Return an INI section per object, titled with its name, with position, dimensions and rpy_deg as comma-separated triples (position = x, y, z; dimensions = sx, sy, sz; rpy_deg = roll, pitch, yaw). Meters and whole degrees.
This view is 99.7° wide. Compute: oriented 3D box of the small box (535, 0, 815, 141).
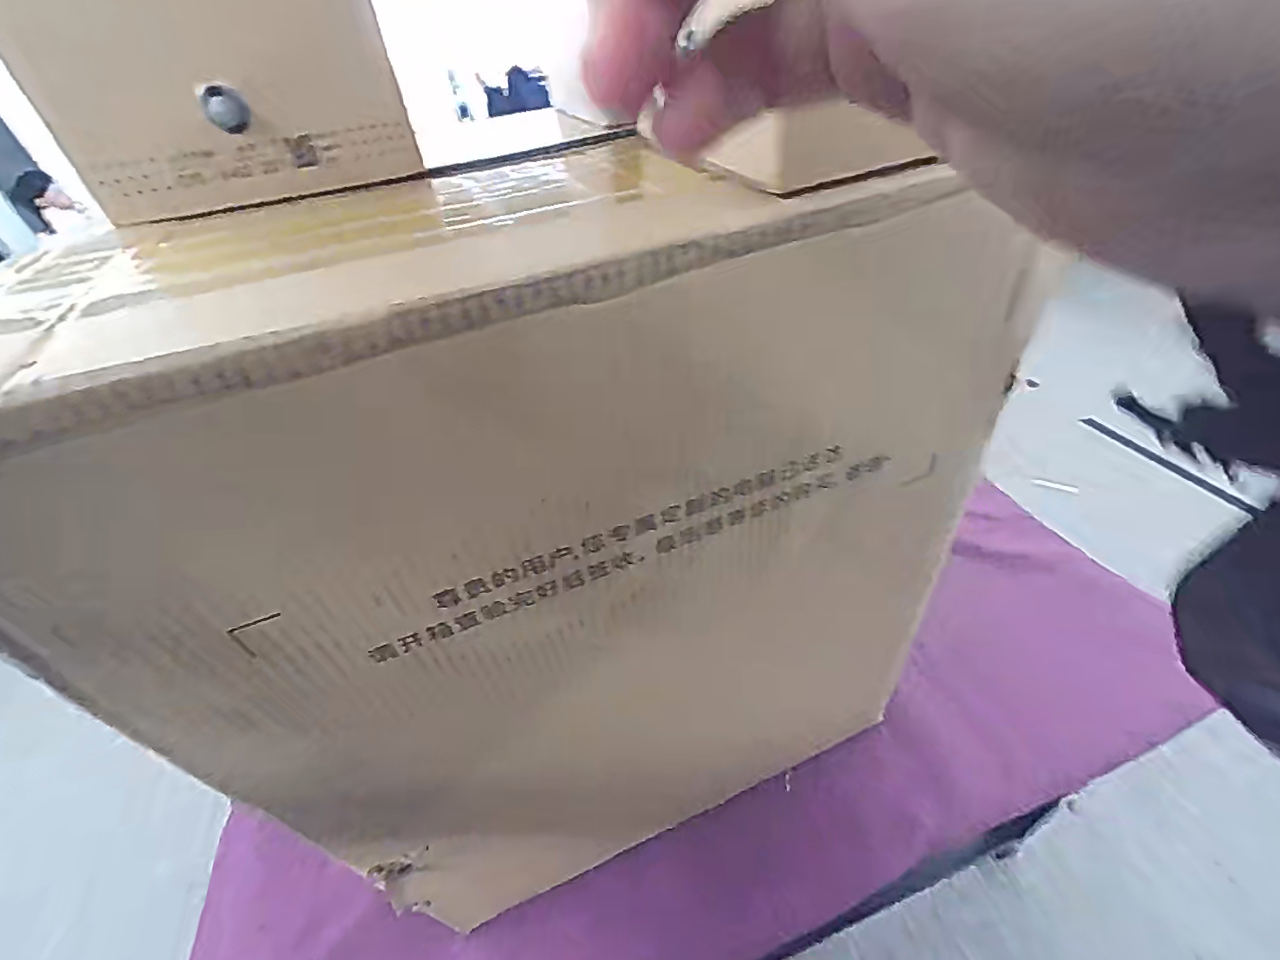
[small box]
position = 0.014, -0.366, 0.400
dimensions = 0.168, 0.176, 0.179
rpy_deg = -18, 42, -10
